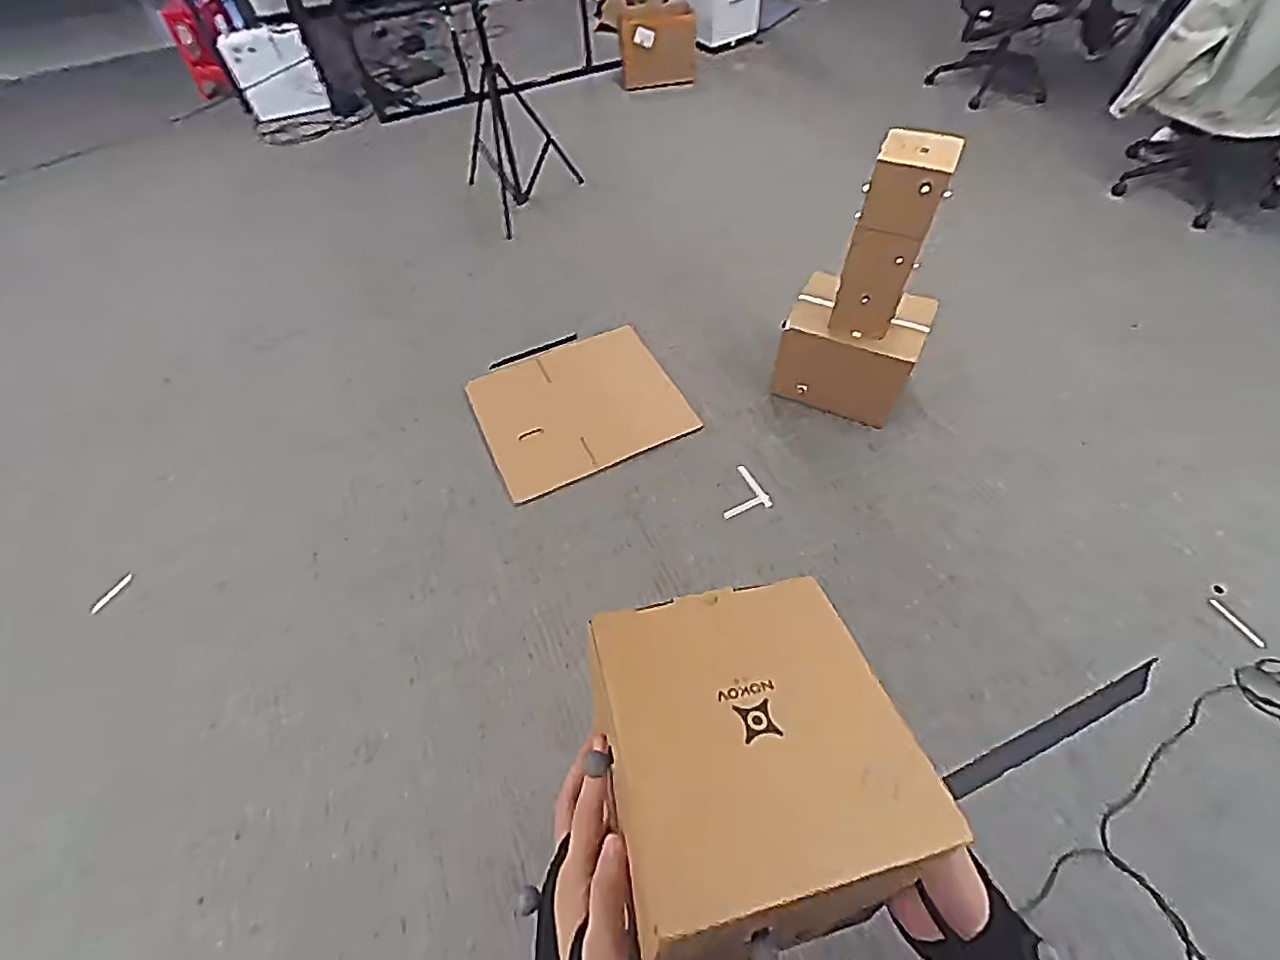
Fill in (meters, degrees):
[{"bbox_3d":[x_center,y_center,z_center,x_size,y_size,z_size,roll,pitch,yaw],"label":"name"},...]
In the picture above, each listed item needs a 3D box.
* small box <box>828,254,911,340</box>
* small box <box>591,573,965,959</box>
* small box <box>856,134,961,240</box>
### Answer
[{"bbox_3d":[0.687,-0.548,1.632,0.179,0.176,0.168,20,60,15],"label":"small box"},{"bbox_3d":[0.065,0.195,0.367,0.168,0.176,0.179,-8,40,-12],"label":"small box"},{"bbox_3d":[0.668,-0.731,1.358,0.179,0.176,0.168,20,59,16],"label":"small box"}]
